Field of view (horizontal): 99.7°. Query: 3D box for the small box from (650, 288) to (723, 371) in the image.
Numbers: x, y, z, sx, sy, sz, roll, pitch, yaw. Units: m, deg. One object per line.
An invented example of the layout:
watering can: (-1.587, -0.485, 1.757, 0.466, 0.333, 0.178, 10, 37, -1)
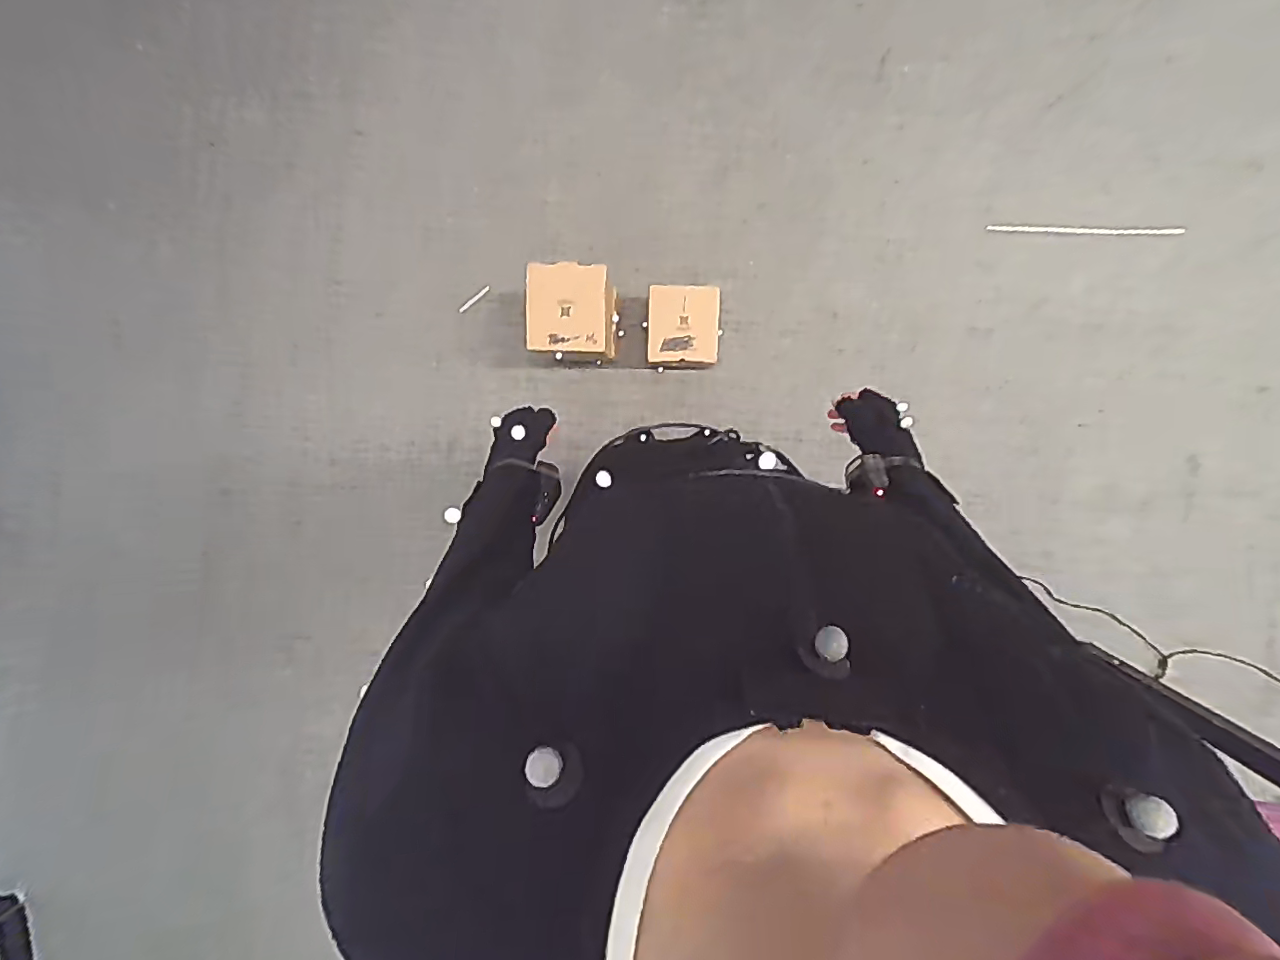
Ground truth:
small box: (0.111, -0.366, 1.341, 0.168, 0.176, 0.179, 2, 97, 1)

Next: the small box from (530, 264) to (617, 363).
small box: (-0.140, -0.358, 1.188, 0.168, 0.176, 0.179, 2, 96, 2)
